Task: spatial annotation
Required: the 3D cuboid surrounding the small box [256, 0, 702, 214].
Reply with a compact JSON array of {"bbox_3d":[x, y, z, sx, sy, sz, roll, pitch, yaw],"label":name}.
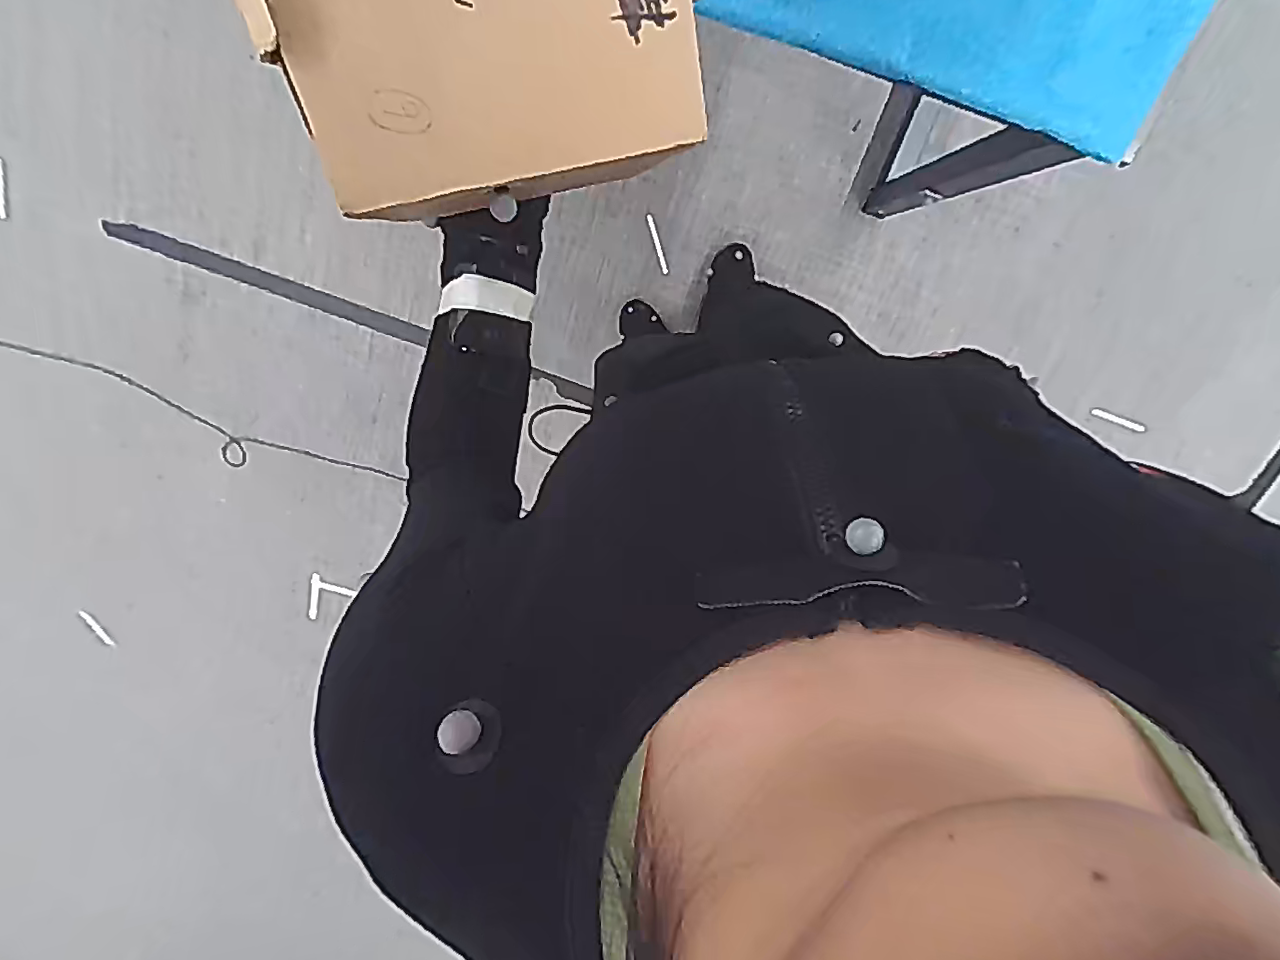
[{"bbox_3d":[-0.085,-0.250,0.287,0.179,0.176,0.168,-17,116,-5],"label":"small box"}]
